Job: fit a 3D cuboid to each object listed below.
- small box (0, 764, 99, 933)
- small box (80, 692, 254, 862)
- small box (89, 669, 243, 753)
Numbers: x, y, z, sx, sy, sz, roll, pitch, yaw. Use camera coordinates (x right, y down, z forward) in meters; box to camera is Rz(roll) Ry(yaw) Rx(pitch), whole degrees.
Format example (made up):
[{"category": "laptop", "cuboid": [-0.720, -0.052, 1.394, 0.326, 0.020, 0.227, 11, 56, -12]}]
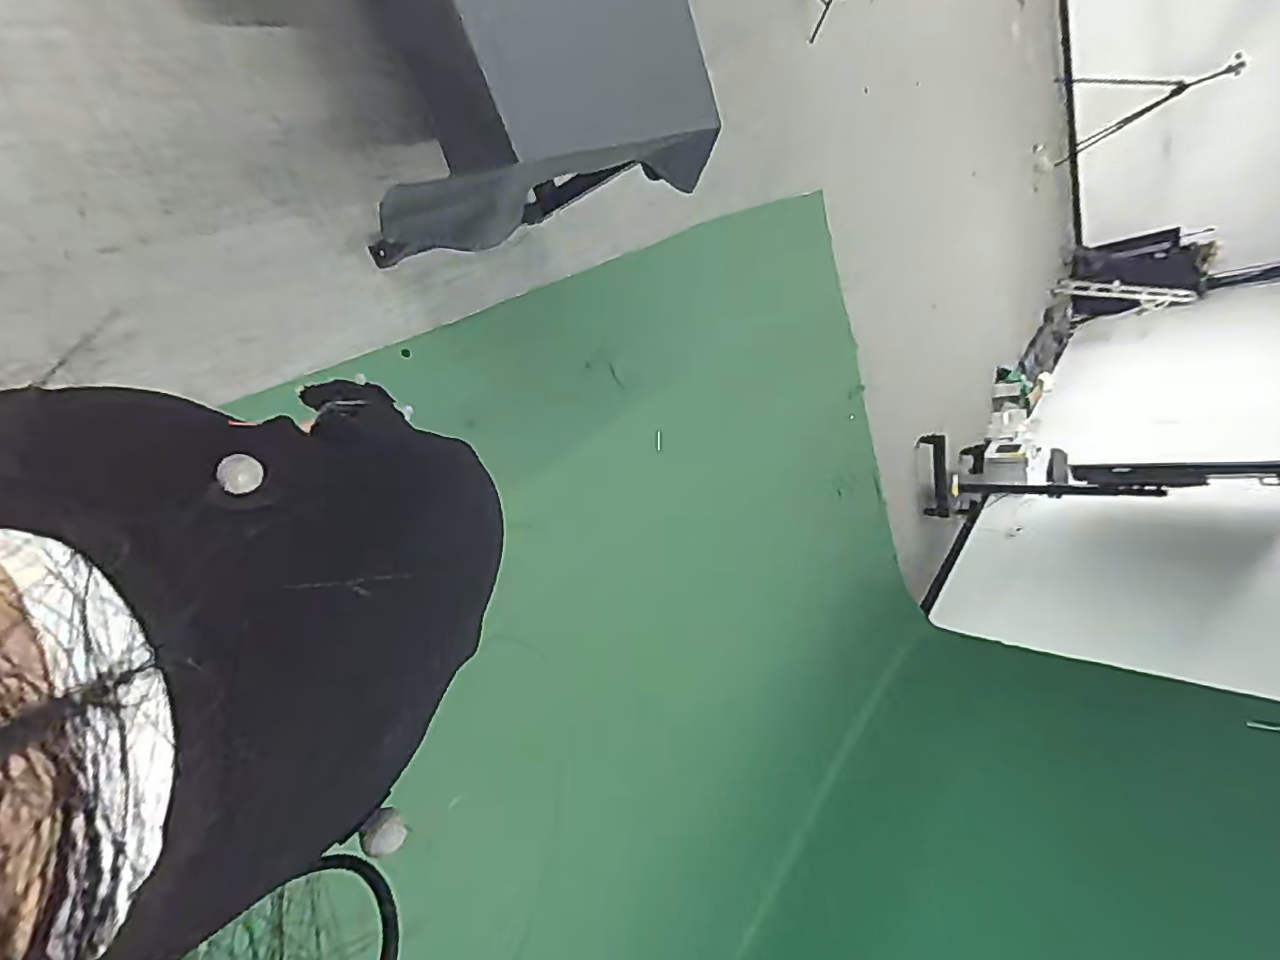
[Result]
[{"category": "small box", "cuboid": [-1.106, 0.640, 0.949, 0.168, 0.176, 0.179, -43, 119, -34]}, {"category": "small box", "cuboid": [-0.844, 0.517, 0.970, 0.179, 0.176, 0.168, -37, 115, -36]}, {"category": "small box", "cuboid": [-0.953, 0.506, 1.091, 0.168, 0.176, 0.179, -40, 118, -35]}]
